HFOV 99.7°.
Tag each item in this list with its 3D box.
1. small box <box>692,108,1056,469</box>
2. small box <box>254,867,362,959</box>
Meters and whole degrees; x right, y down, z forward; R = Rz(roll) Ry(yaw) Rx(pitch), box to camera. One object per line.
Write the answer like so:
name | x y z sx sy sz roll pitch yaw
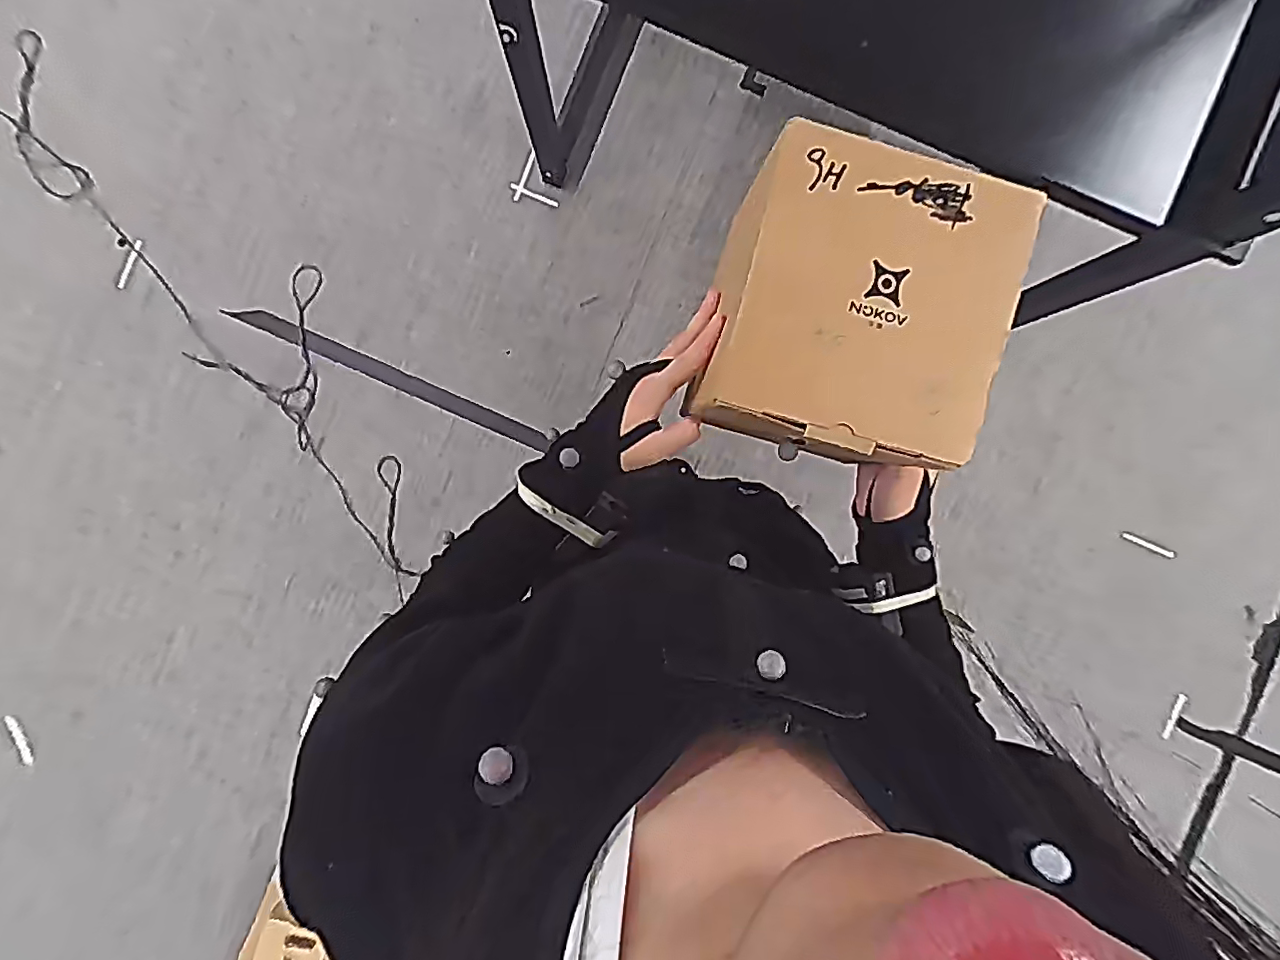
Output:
small box | 0.142 -0.116 0.399 0.168 0.176 0.179 15 94 -5
small box | -0.852 1.158 1.398 0.168 0.176 0.179 19 91 -2
